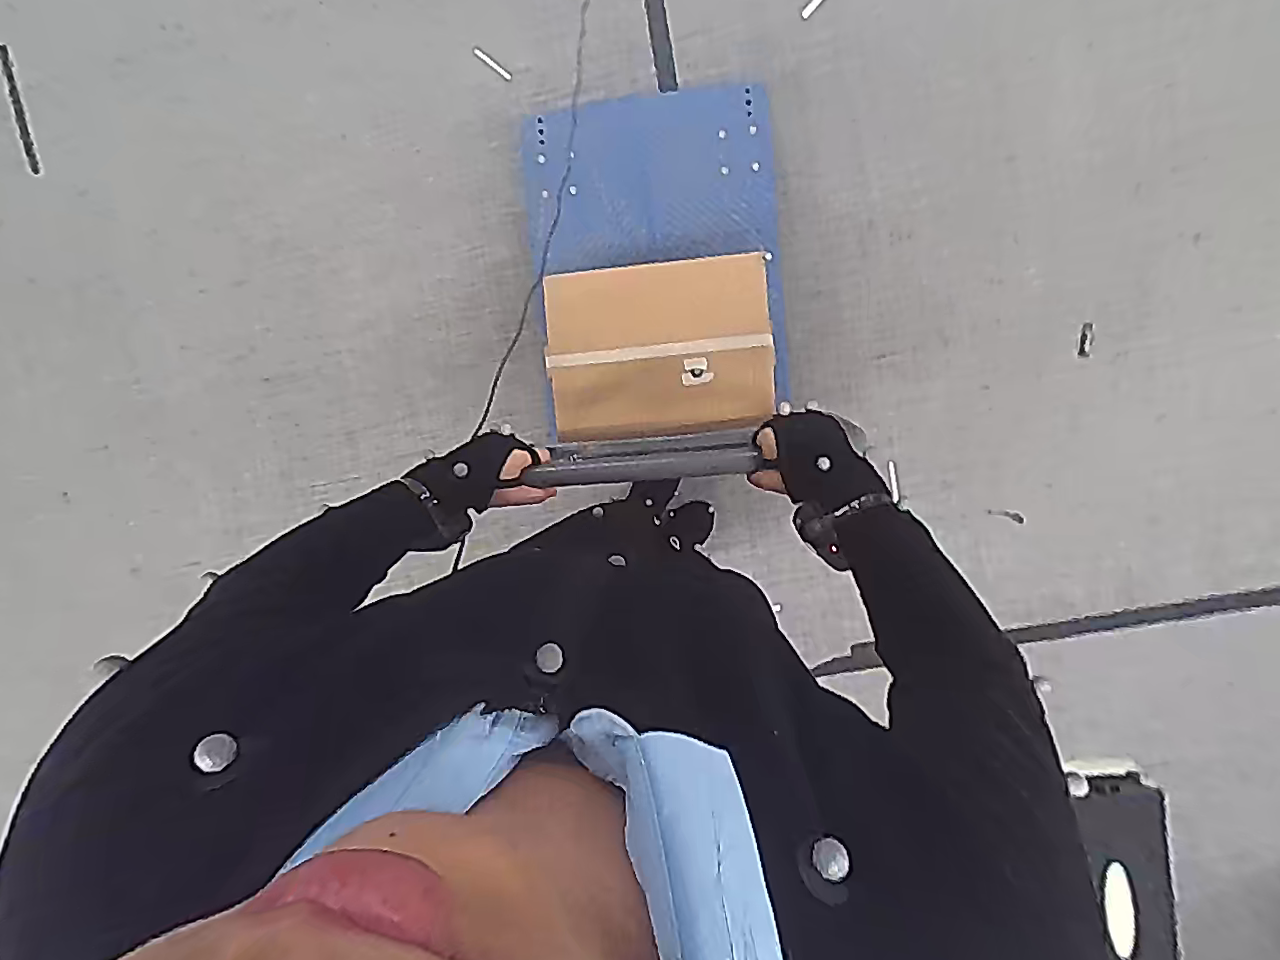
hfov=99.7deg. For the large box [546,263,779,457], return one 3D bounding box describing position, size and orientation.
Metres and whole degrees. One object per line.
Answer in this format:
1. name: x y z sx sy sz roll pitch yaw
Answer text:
1. large box: 0.047 -0.220 1.122 0.408 0.320 0.320 -5 94 4
